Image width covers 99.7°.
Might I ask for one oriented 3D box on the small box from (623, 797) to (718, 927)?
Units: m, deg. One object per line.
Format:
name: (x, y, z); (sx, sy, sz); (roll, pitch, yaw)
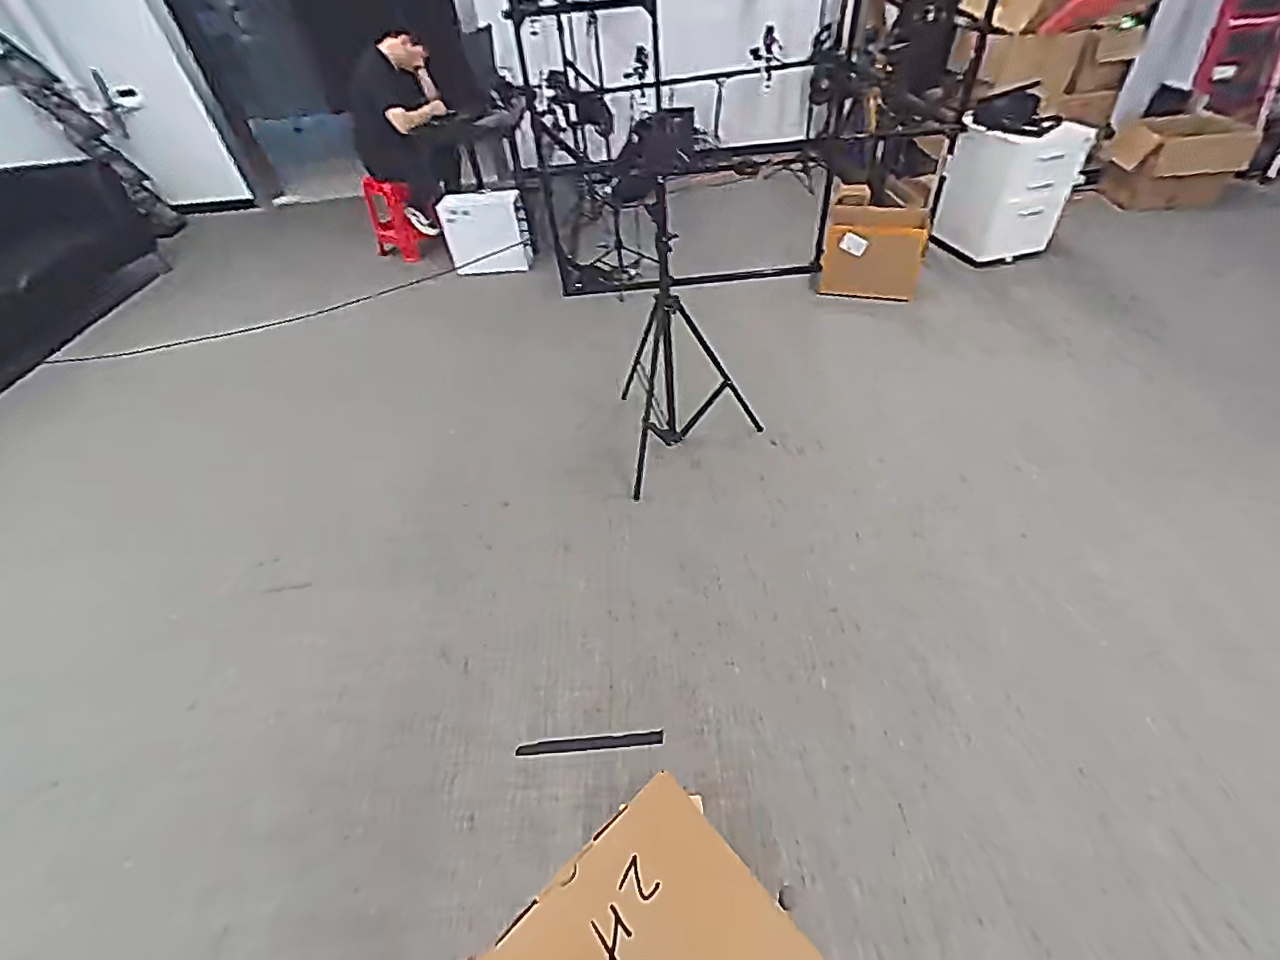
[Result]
small box: (0.056, 0.760, 1.076); (0.168, 0.176, 0.179); (-7, 45, -1)
